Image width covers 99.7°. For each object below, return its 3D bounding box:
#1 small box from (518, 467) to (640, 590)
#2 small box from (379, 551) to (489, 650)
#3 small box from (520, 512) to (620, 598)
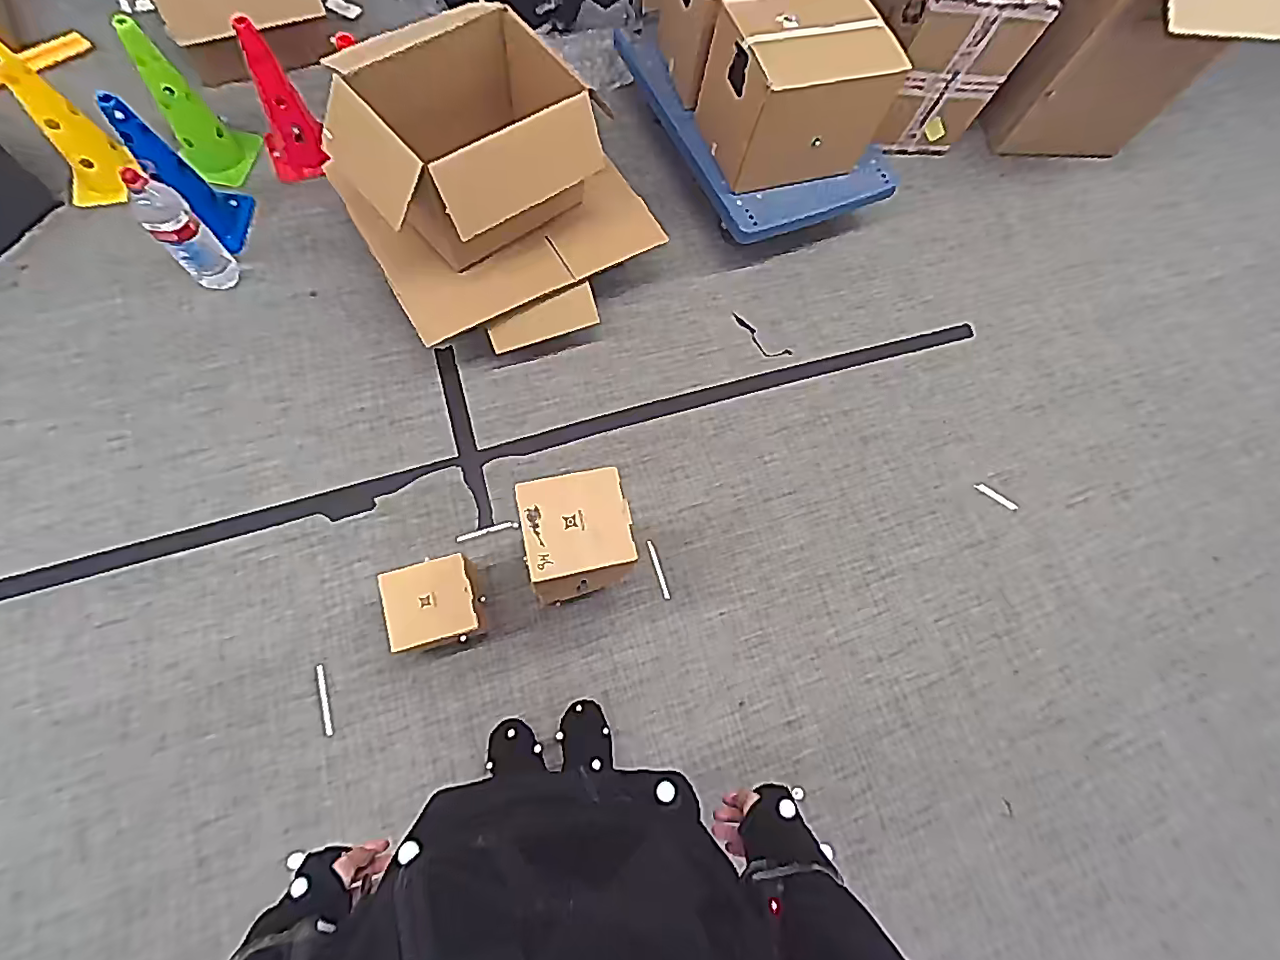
[{"bbox_3d":[-0.113,0.090,0.948,0.179,0.176,0.168,-10,74,-12],"label":"small box"},{"bbox_3d":[-0.447,0.271,1.192,0.179,0.176,0.168,-15,75,-13],"label":"small box"},{"bbox_3d":[-0.136,0.136,1.104,0.179,0.176,0.168,-14,76,-13],"label":"small box"}]
